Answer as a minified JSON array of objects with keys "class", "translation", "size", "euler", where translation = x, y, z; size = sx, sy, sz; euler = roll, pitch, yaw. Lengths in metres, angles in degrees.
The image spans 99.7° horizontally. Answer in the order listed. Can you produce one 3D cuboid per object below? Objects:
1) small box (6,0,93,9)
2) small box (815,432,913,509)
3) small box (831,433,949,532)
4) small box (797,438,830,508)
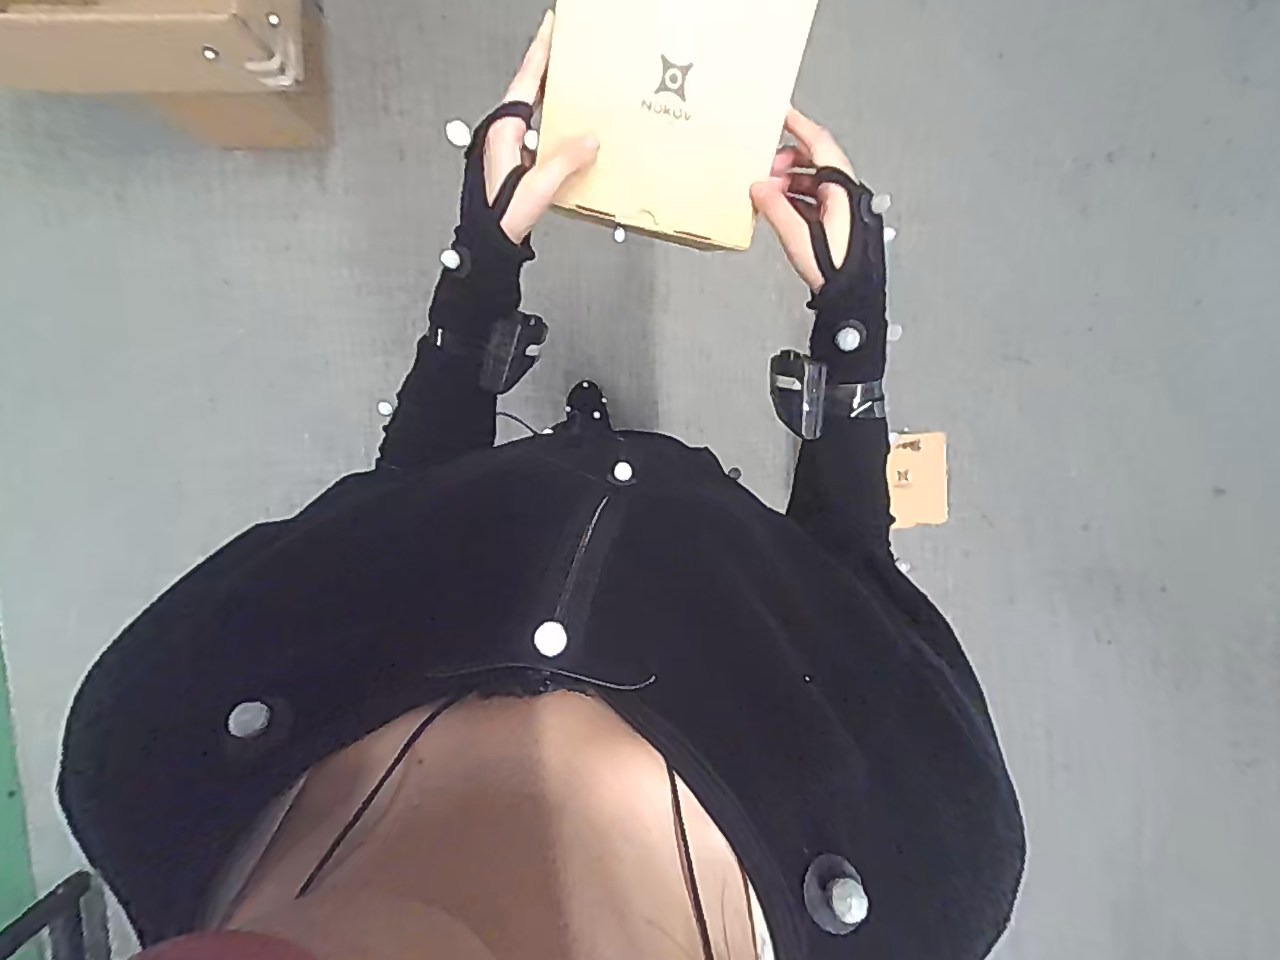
[{"class":"small box","translation":[-1.081,-0.949,0.919],"size":[0.179,0.176,0.168],"euler":[2,95,0]},{"class":"small box","translation":[0.510,-0.021,1.248],"size":[0.168,0.176,0.179],"euler":[-1,95,2]},{"class":"small box","translation":[0.493,-0.001,1.086],"size":[0.168,0.176,0.179],"euler":[-3,96,1]},{"class":"small box","translation":[0.513,-0.024,1.412],"size":[0.168,0.176,0.179],"euler":[-2,95,1]}]
